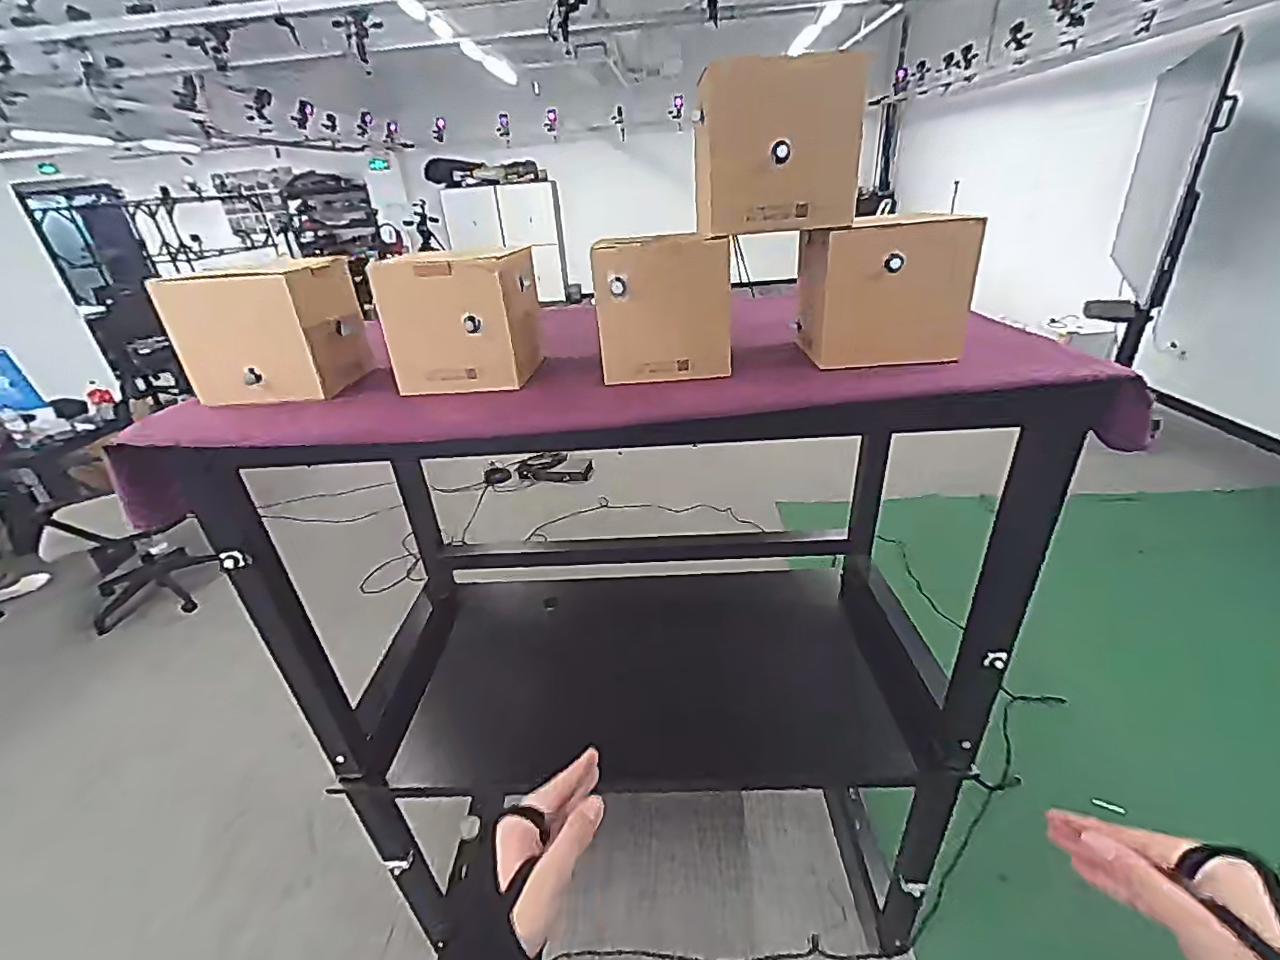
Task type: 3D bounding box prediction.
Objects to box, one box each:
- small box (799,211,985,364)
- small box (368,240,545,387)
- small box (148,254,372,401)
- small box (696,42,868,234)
[{"bbox_3d":[0.314,-0.256,0.718,0.179,0.176,0.168,-2,27,4],"label":"small box"},{"bbox_3d":[-0.237,-0.230,0.751,0.168,0.176,0.179,-1,27,5],"label":"small box"},{"bbox_3d":[-0.510,-0.217,0.762,0.179,0.176,0.168,-3,27,1],"label":"small box"},{"bbox_3d":[0.158,-0.397,0.656,0.168,0.176,0.179,-3,26,2],"label":"small box"}]
